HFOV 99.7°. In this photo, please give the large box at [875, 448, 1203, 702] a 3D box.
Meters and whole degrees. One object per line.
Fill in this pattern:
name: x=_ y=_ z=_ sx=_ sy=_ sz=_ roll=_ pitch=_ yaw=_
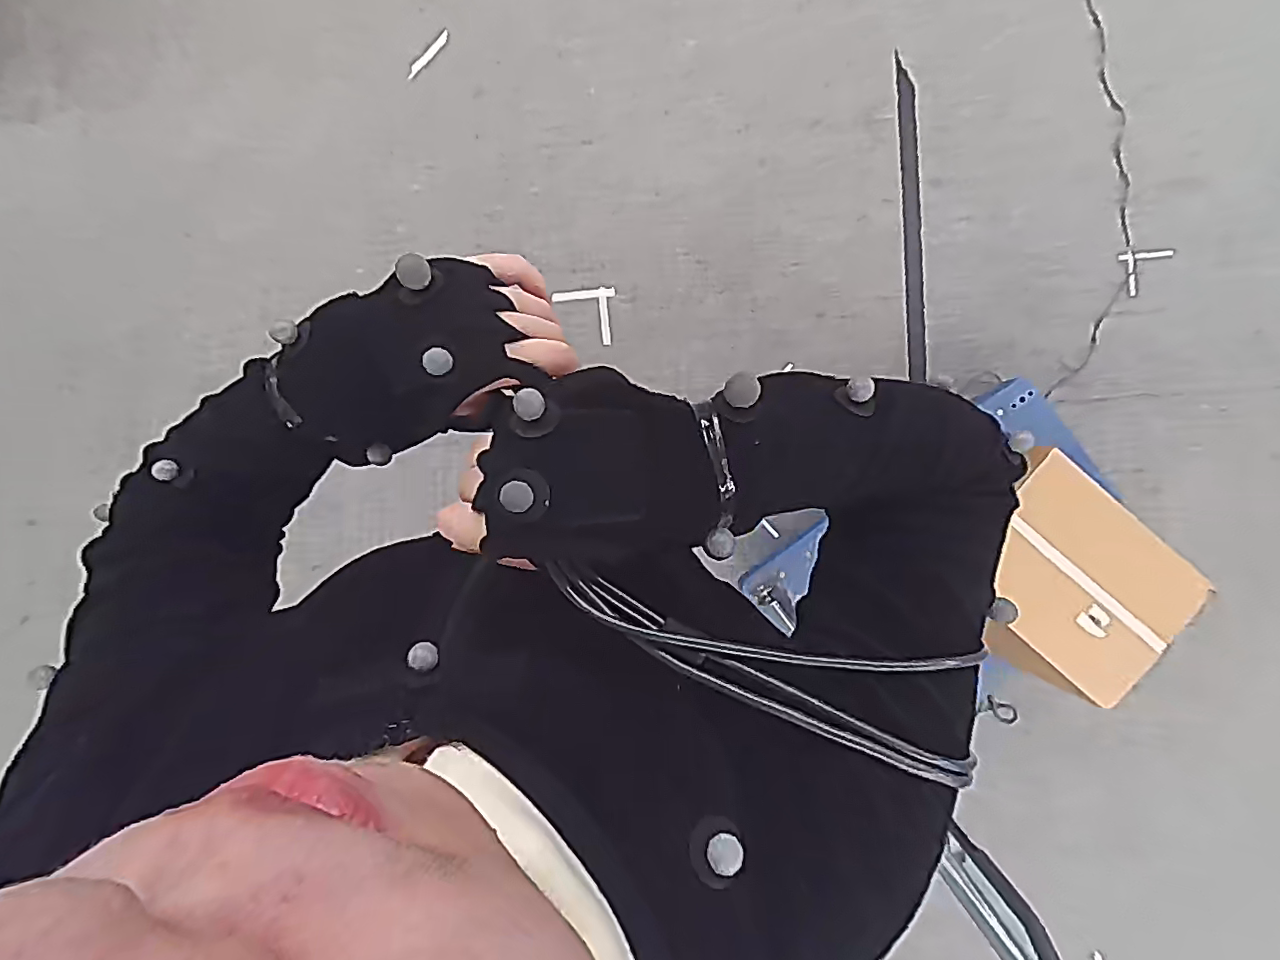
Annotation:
large box: x=0.809 y=0.176 z=1.160 sx=0.408 sy=0.320 sz=0.320 roll=41 pitch=91 yaw=-1
